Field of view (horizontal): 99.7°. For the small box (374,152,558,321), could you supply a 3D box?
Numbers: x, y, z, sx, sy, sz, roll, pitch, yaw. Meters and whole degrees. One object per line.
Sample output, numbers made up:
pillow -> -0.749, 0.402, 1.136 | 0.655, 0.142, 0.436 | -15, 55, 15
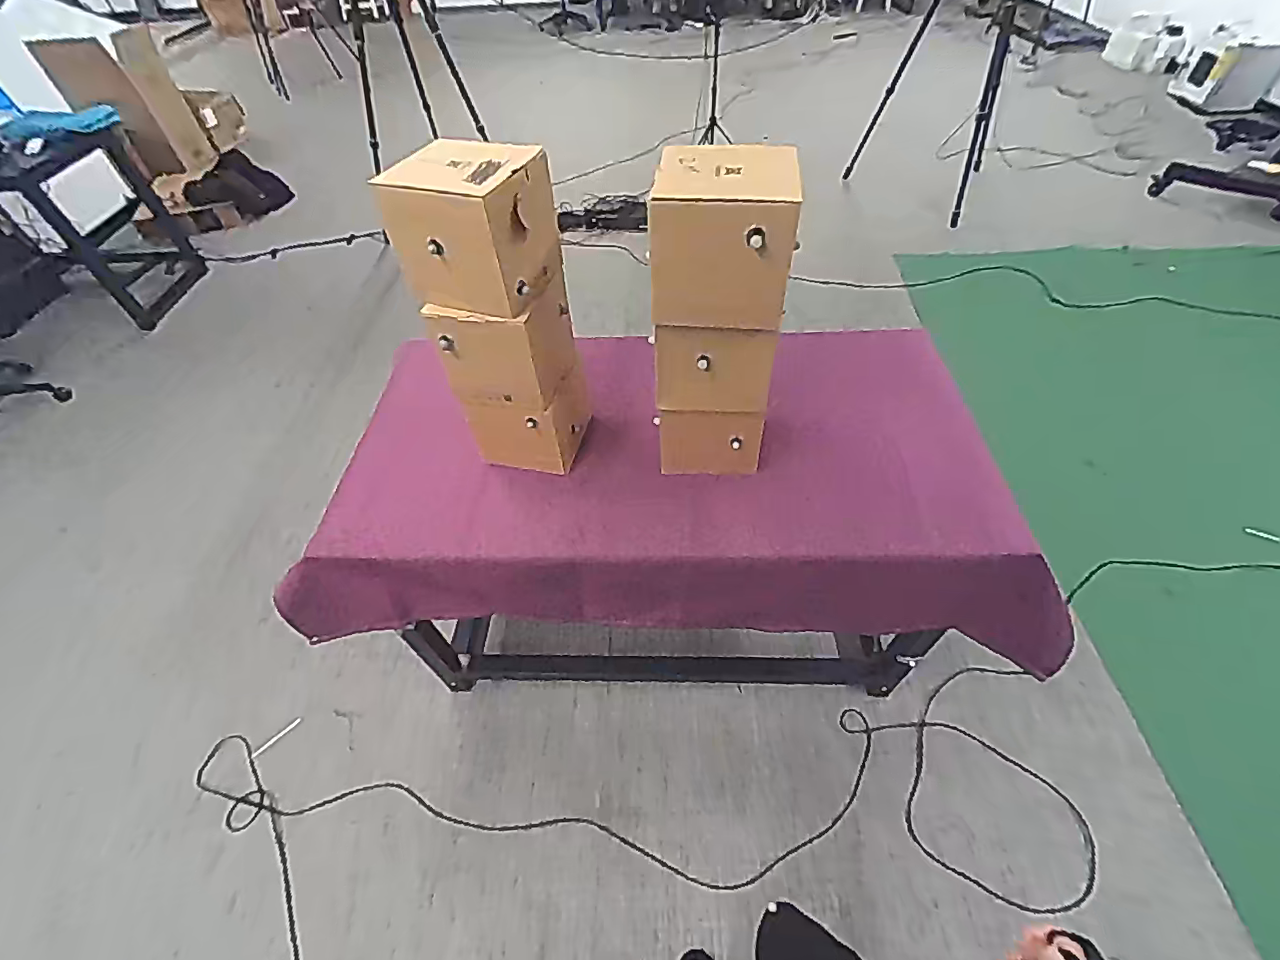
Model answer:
small box -> -0.237, -0.354, 0.791 | 0.179, 0.176, 0.168 | 13, 51, 15

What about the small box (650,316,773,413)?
small box -> 0.113, -0.222, 0.870 | 0.179, 0.176, 0.168 | 2, 50, 6

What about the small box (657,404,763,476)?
small box -> 0.124, -0.121, 0.999 | 0.179, 0.176, 0.168 | 0, 49, 5

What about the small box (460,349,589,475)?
small box -> -0.208, -0.127, 1.029 | 0.179, 0.176, 0.168 | 8, 50, 10

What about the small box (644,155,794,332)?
small box -> 0.104, -0.318, 0.736 | 0.179, 0.176, 0.168 | 4, 49, 7
